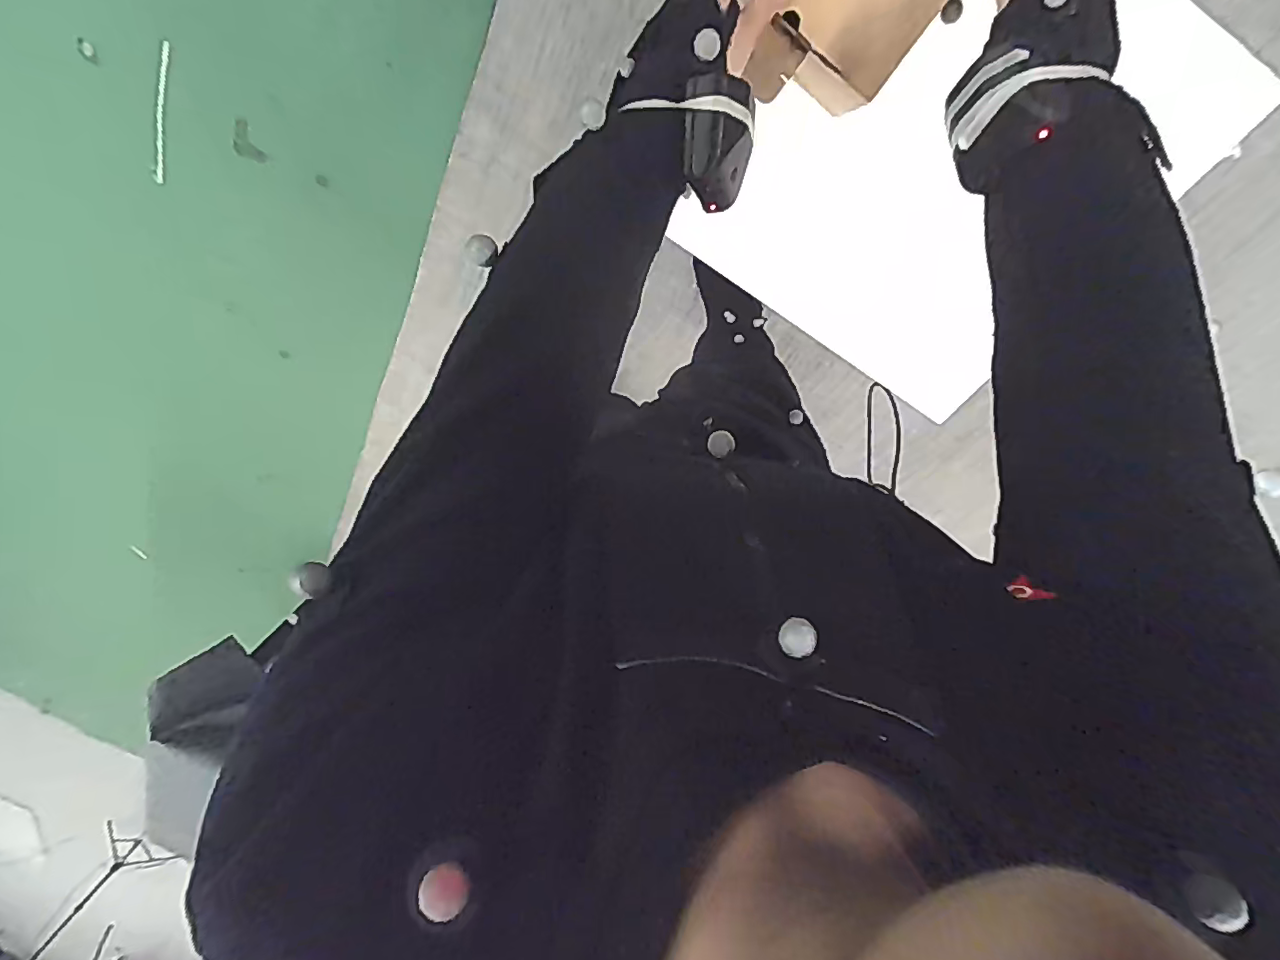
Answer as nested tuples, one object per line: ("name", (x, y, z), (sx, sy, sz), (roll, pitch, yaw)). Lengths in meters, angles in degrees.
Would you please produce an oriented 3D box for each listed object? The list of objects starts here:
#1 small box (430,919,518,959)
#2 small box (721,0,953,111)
("small box", (-0.428, 1.215, 1.325), (0.179, 0.176, 0.168), (29, 122, -7))
("small box", (0.169, -0.426, 0.418), (0.168, 0.176, 0.179), (34, 121, -10))
